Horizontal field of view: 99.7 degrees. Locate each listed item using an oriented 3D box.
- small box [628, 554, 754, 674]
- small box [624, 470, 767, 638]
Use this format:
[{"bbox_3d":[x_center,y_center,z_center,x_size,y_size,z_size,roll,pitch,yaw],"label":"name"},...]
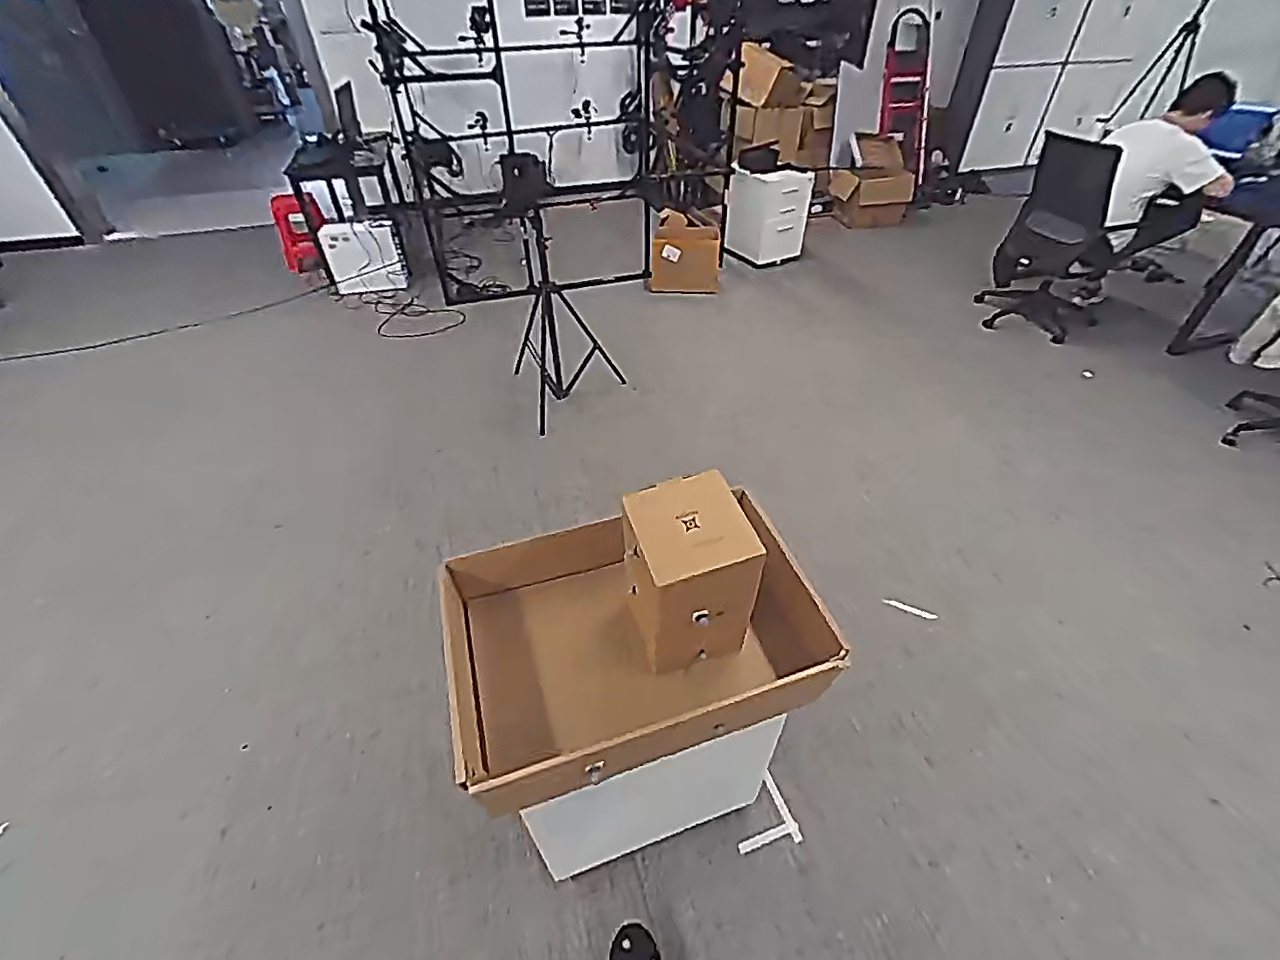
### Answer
[{"bbox_3d":[0.083,0.223,0.980,0.179,0.176,0.168,-15,48,-12],"label":"small box"},{"bbox_3d":[0.079,0.118,0.855,0.168,0.176,0.179,-16,50,-10],"label":"small box"}]
